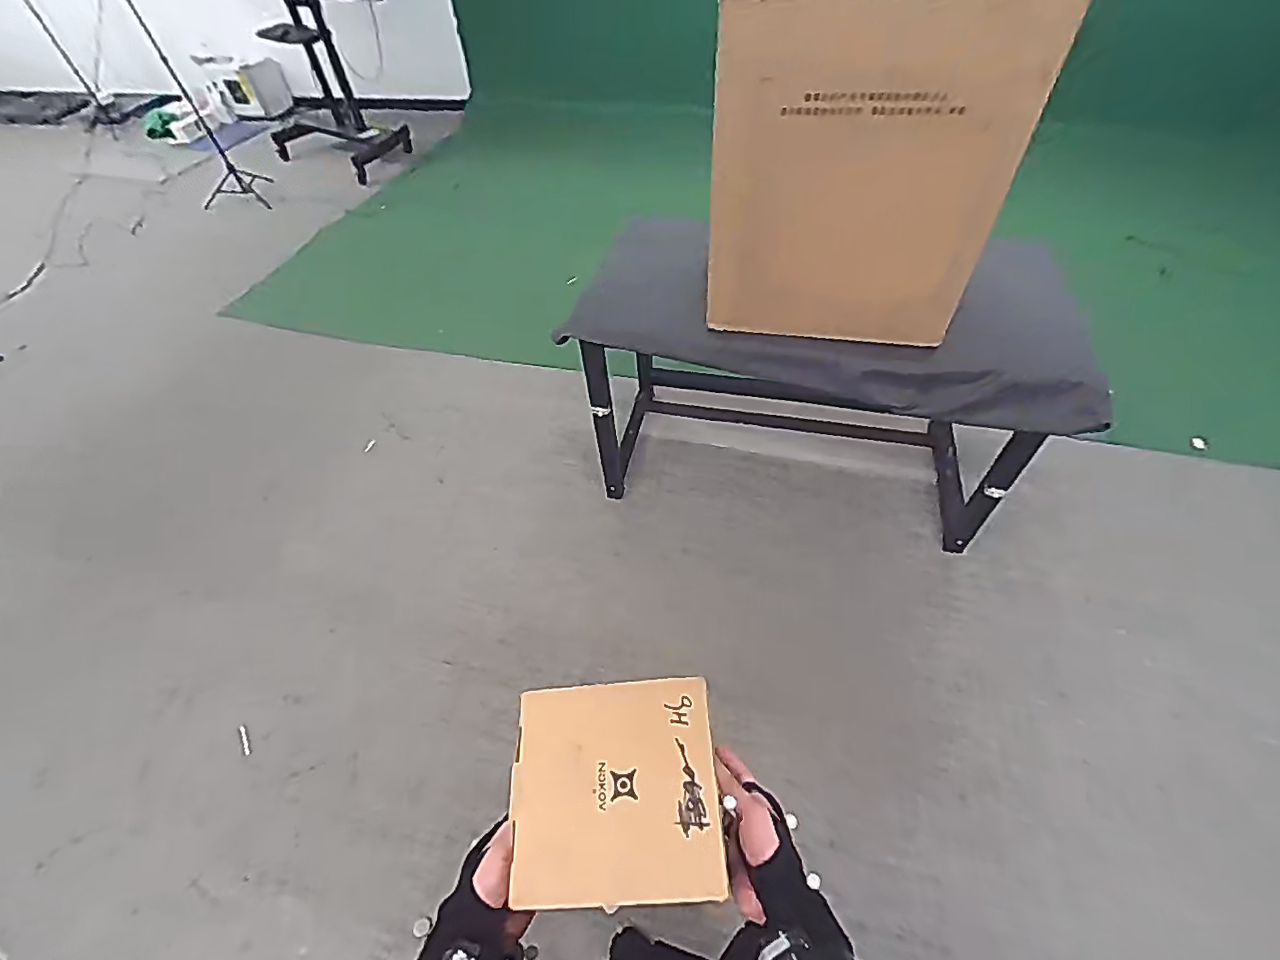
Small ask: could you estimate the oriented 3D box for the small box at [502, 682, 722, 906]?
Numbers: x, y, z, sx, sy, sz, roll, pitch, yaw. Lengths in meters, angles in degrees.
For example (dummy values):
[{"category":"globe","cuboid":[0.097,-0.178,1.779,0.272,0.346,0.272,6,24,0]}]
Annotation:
[{"category":"small box","cuboid":[-0.016,0.303,0.530,0.179,0.176,0.168,-5,59,6]}]
